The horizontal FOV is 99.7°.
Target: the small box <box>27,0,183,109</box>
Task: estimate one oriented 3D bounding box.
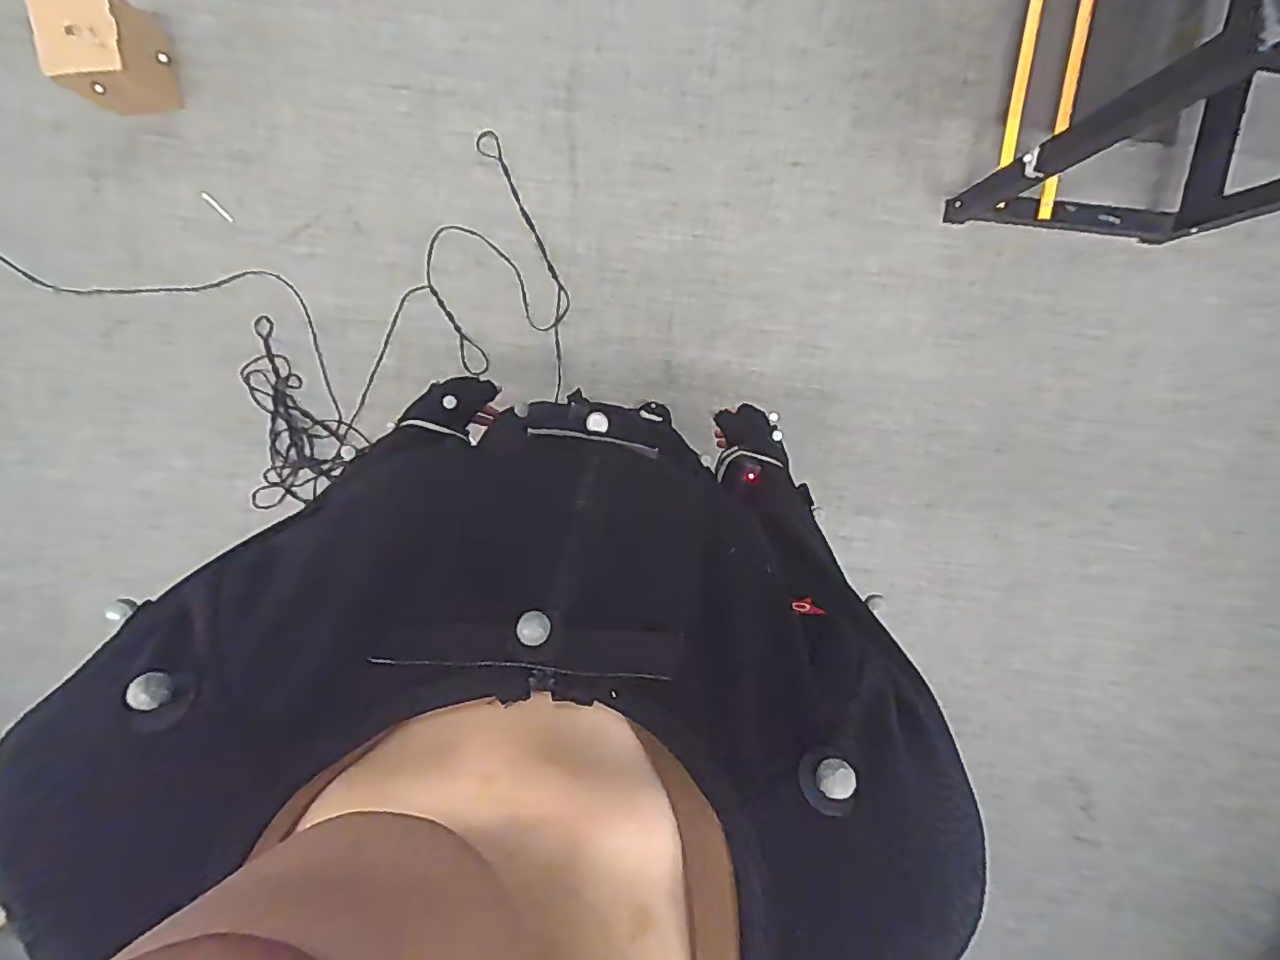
[{"bbox_3d":[-1.208,-0.977,1.233,0.179,0.176,0.168,-5,100,1],"label":"small box"}]
